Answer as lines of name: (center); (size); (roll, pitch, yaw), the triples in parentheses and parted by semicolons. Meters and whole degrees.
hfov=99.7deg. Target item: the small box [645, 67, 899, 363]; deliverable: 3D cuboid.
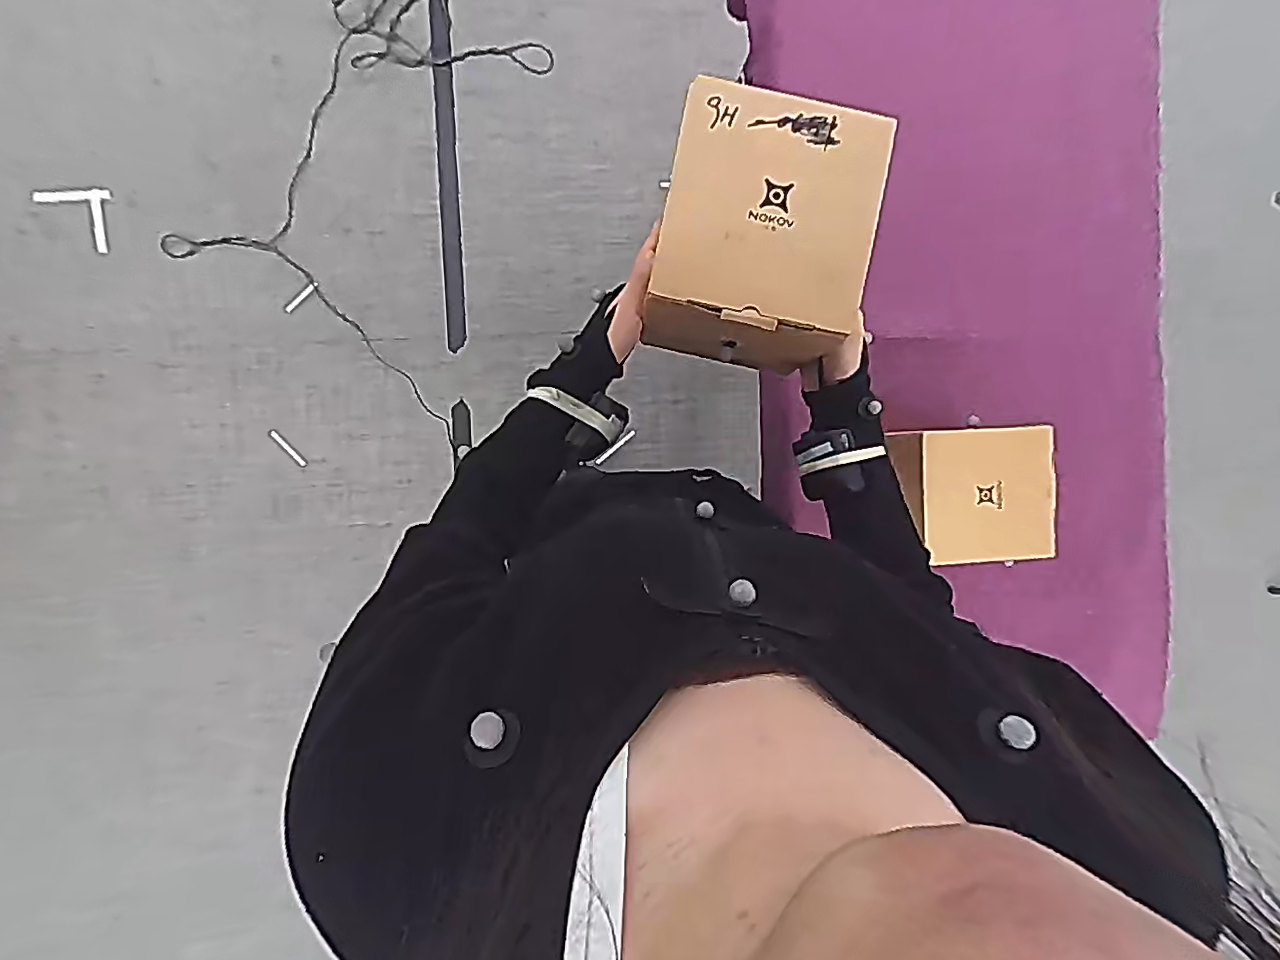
small box: (0.101, -0.217, 0.495); (0.168, 0.176, 0.179); (12, 92, -2)

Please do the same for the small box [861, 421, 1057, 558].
small box: (0.422, 0.010, 0.743); (0.179, 0.176, 0.168); (-3, 93, -6)
